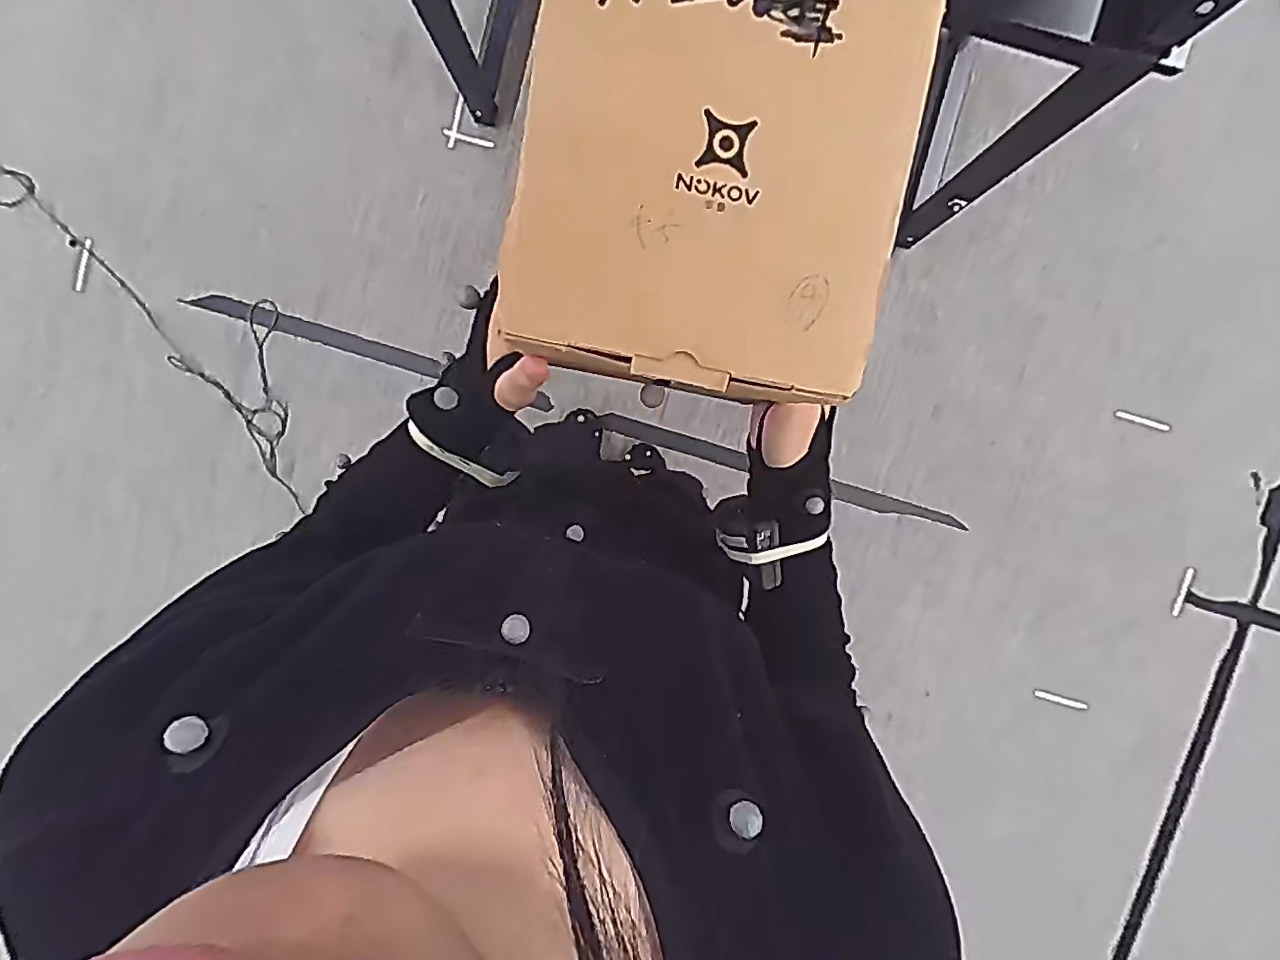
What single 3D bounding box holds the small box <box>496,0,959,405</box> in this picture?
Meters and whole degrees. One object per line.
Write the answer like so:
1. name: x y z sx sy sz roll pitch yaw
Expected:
1. small box: 0.028 -0.144 0.301 0.168 0.176 0.179 10 98 -7
